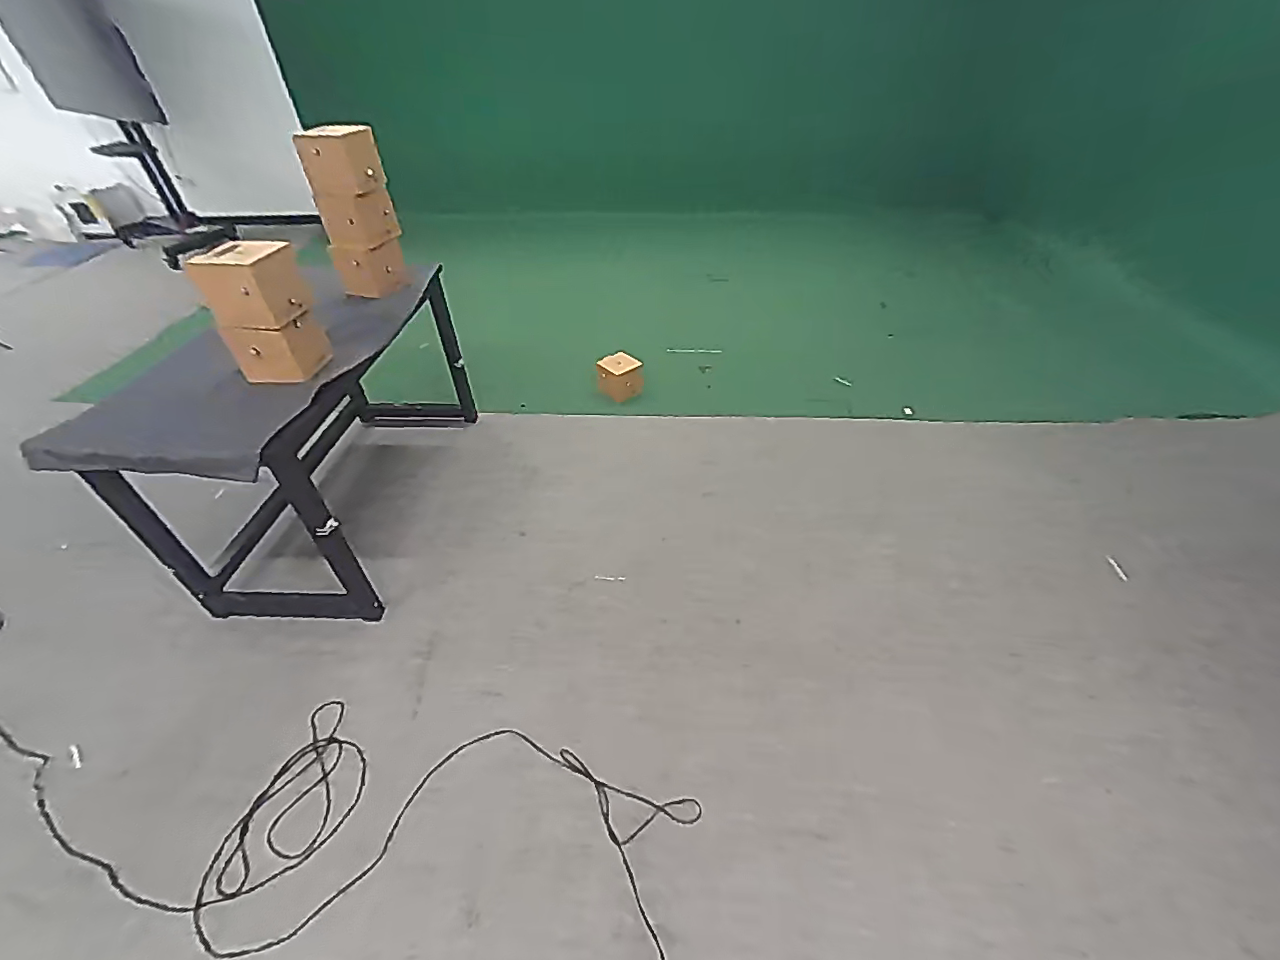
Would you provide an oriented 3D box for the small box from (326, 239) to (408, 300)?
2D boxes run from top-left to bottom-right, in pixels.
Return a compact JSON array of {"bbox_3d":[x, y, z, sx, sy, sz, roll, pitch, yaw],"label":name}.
[{"bbox_3d":[-0.978,-0.767,1.954,0.179,0.176,0.168,13,44,20],"label":"small box"}]

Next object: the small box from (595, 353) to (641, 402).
[{"bbox_3d":[-0.107,-0.516,2.743,0.168,0.176,0.179,-31,49,-28],"label":"small box"}]

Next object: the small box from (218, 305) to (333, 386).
[{"bbox_3d":[-1.015,-0.377,1.522,0.179,0.176,0.168,0,41,4],"label":"small box"}]

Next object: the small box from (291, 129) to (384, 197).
[{"bbox_3d":[-0.974,-1.028,1.757,0.179,0.176,0.168,7,42,11],"label":"small box"}]

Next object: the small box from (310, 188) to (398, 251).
[{"bbox_3d":[-0.973,-0.900,1.860,0.179,0.176,0.168,9,42,16],"label":"small box"}]
